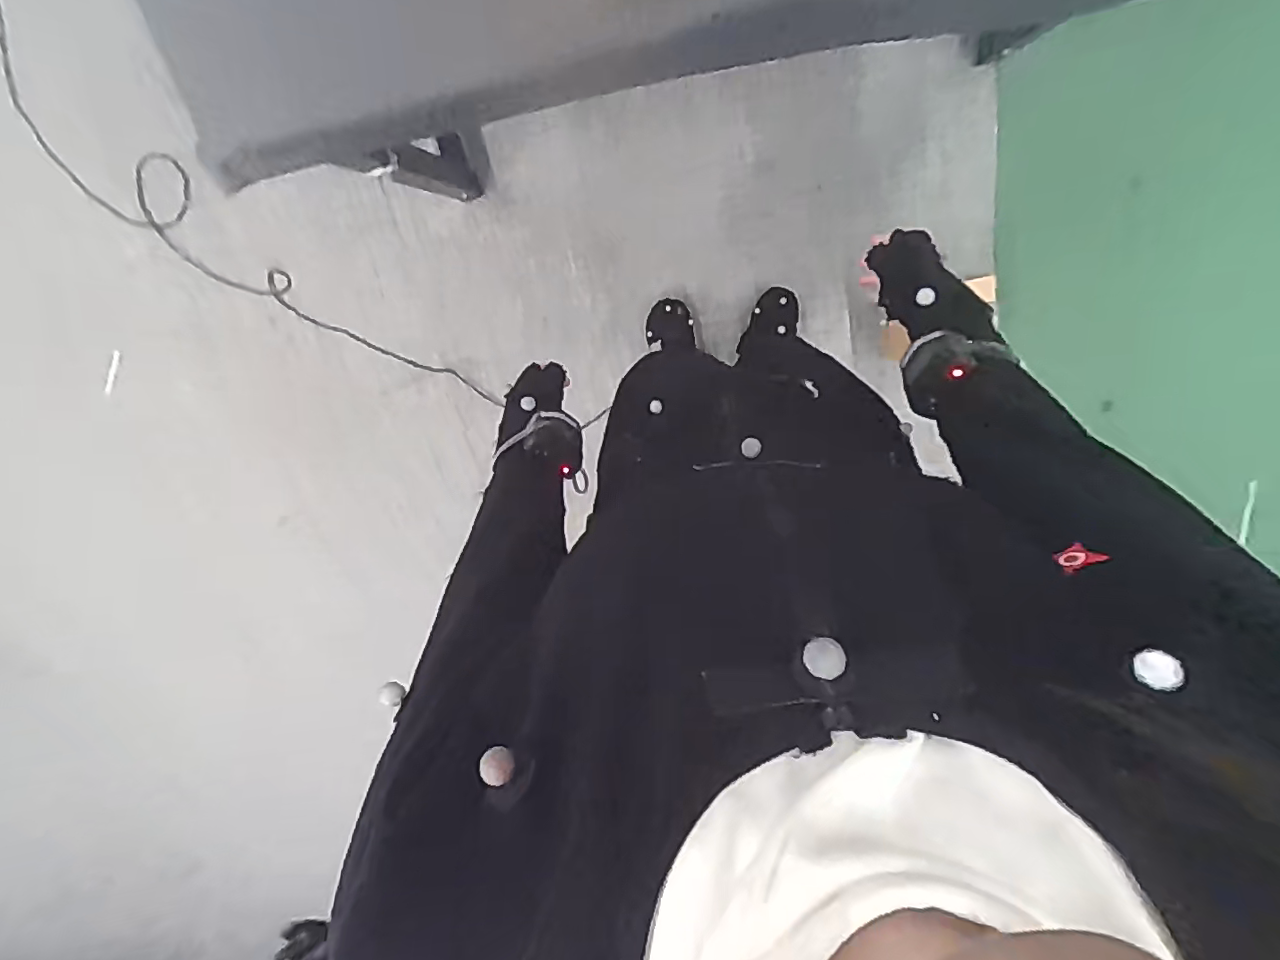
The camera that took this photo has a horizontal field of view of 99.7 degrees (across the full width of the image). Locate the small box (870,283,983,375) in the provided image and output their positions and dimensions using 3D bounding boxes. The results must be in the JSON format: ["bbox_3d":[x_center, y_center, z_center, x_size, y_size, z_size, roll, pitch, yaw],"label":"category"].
[{"bbox_3d":[0.646,-0.349,1.234,0.179,0.176,0.168,-9,110,7],"label":"small box"}]
